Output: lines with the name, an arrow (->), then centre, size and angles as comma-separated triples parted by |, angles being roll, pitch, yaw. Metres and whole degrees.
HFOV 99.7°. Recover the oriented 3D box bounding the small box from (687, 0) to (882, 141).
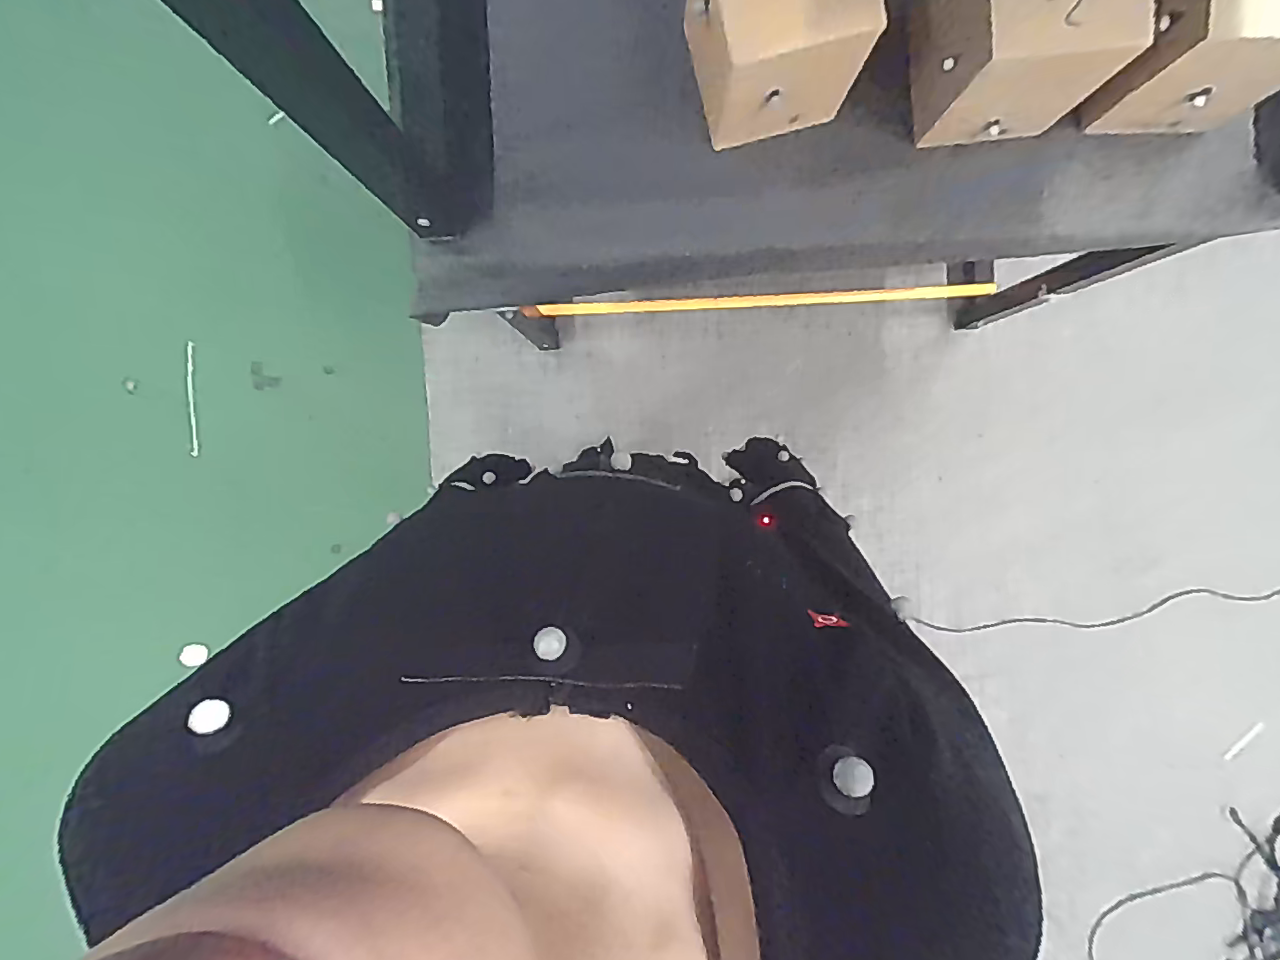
small box -> 0.156, -0.537, 0.639 | 0.168, 0.176, 0.179 | -14, 92, 2
